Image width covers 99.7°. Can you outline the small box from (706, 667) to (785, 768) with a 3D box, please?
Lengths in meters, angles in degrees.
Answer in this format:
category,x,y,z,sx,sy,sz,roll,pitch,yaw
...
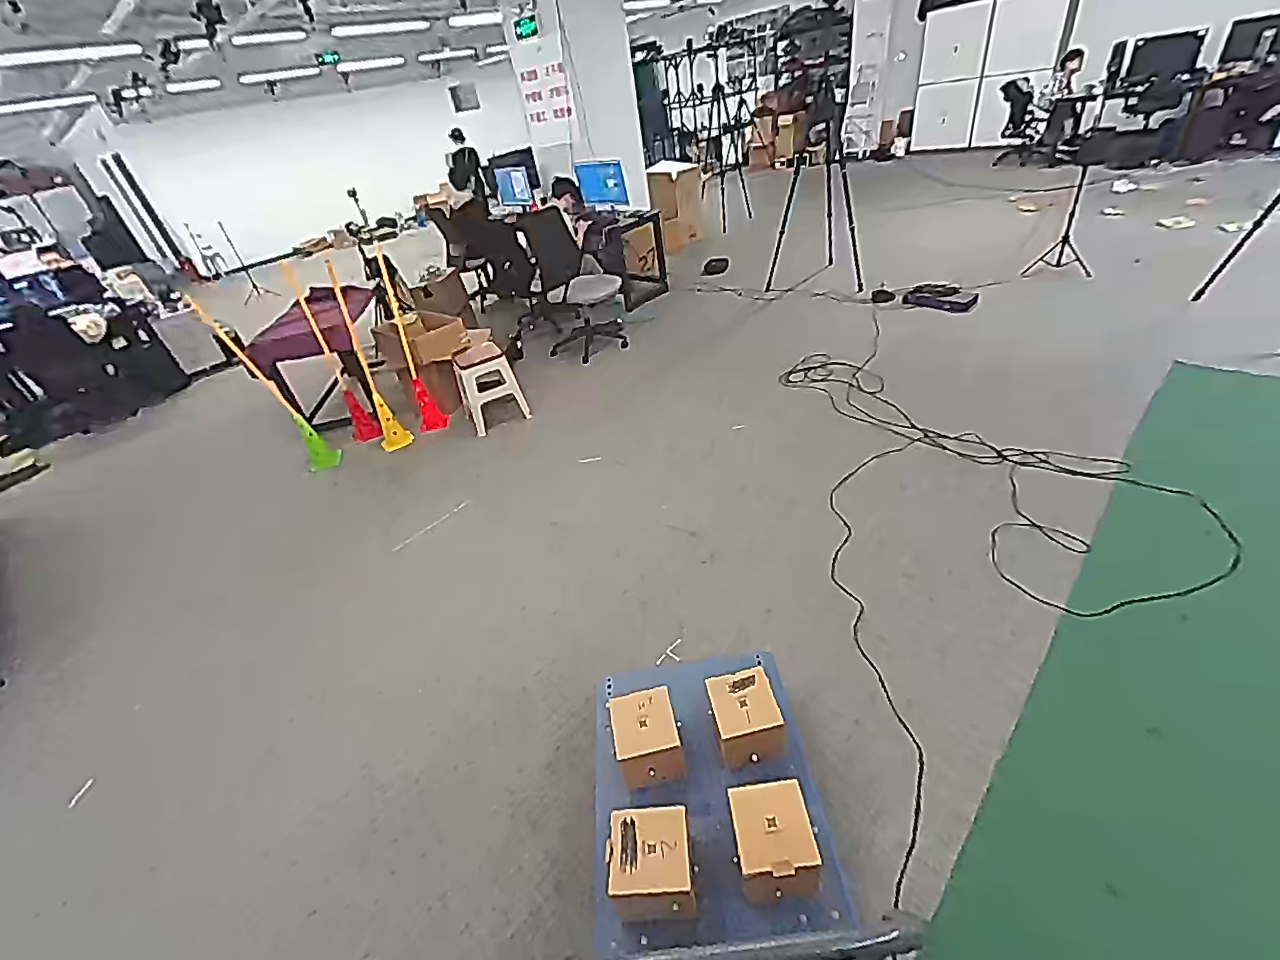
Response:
category,x,y,z,sx,sy,sz,roll,pitch,yaw
small box,0.283,0.643,1.466,0.168,0.176,0.179,-13,37,-2

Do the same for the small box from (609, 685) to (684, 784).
category,x,y,z,sx,sy,sz,roll,pitch,yaw
small box,0.018,0.694,1.463,0.168,0.176,0.179,-12,36,-3

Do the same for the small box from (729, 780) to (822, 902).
category,x,y,z,sx,sy,sz,roll,pitch,yaw
small box,0.300,0.818,1.228,0.168,0.176,0.179,-9,36,2
